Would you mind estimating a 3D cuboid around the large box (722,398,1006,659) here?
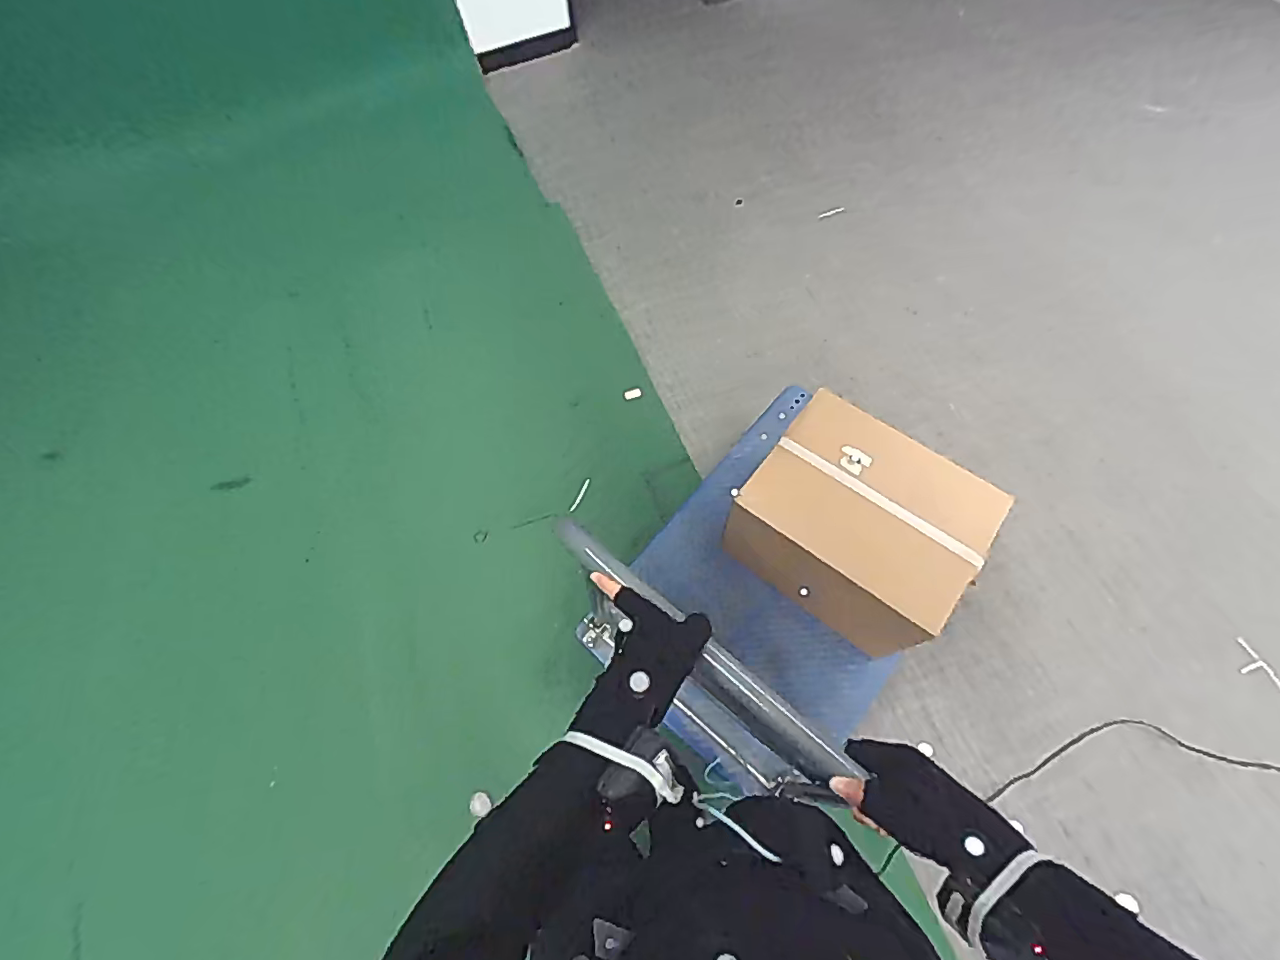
[{"bbox_3d":[0.426,0.110,1.122,0.408,0.320,0.320,35,71,19],"label":"large box"}]
